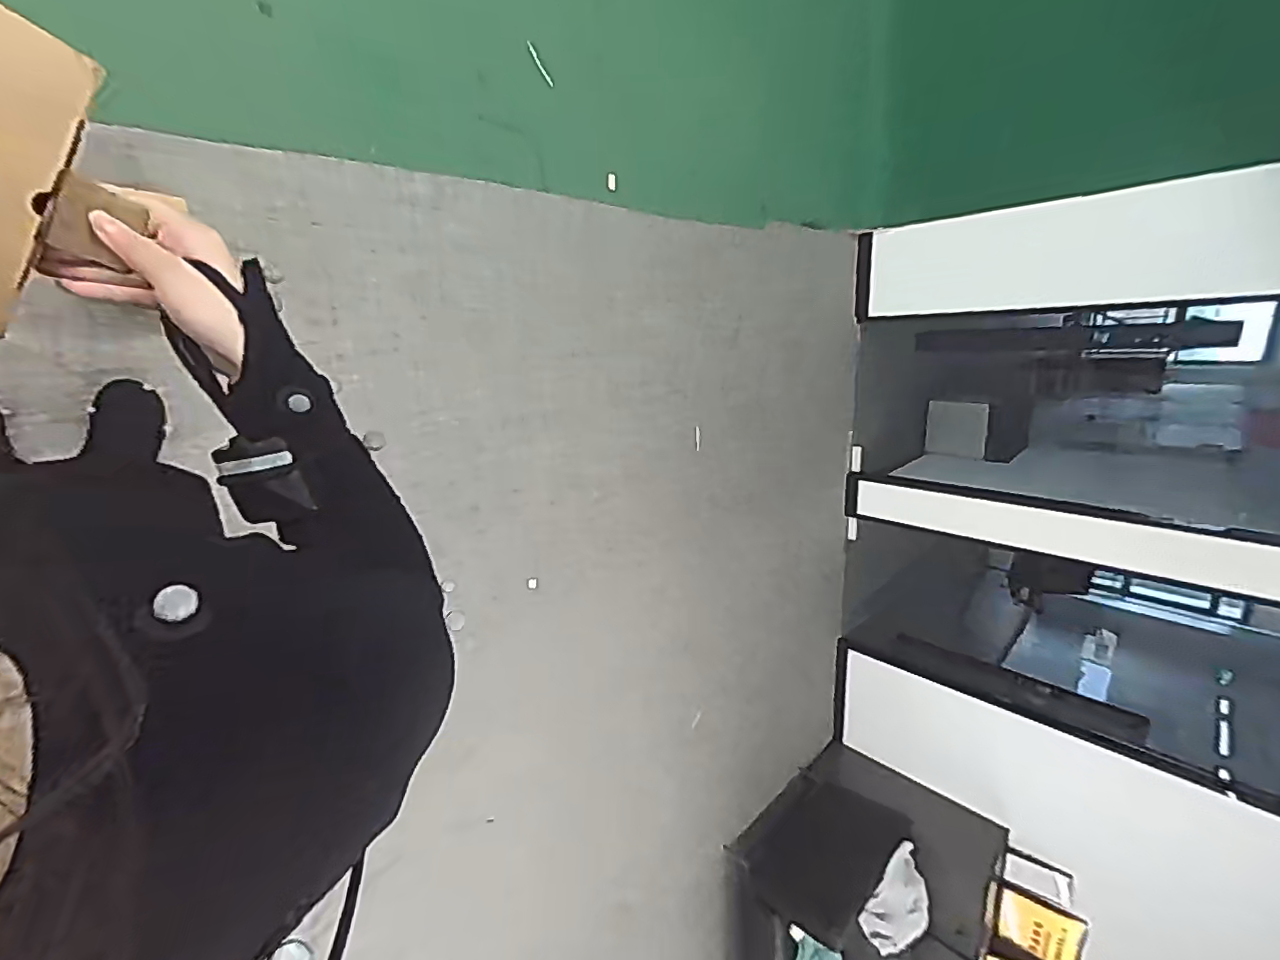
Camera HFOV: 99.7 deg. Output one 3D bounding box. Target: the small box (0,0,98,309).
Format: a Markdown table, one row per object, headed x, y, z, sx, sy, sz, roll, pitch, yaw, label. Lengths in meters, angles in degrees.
| x | y | z | sx | sy | sz | roll | pitch | yaw | label |
| --- | --- | --- | --- | --- | --- | --- | --- | --- | --- |
| -0.422 | -0.200 | 0.267 | 0.179 | 0.176 | 0.168 | 20 | 99 | -53 | small box |
